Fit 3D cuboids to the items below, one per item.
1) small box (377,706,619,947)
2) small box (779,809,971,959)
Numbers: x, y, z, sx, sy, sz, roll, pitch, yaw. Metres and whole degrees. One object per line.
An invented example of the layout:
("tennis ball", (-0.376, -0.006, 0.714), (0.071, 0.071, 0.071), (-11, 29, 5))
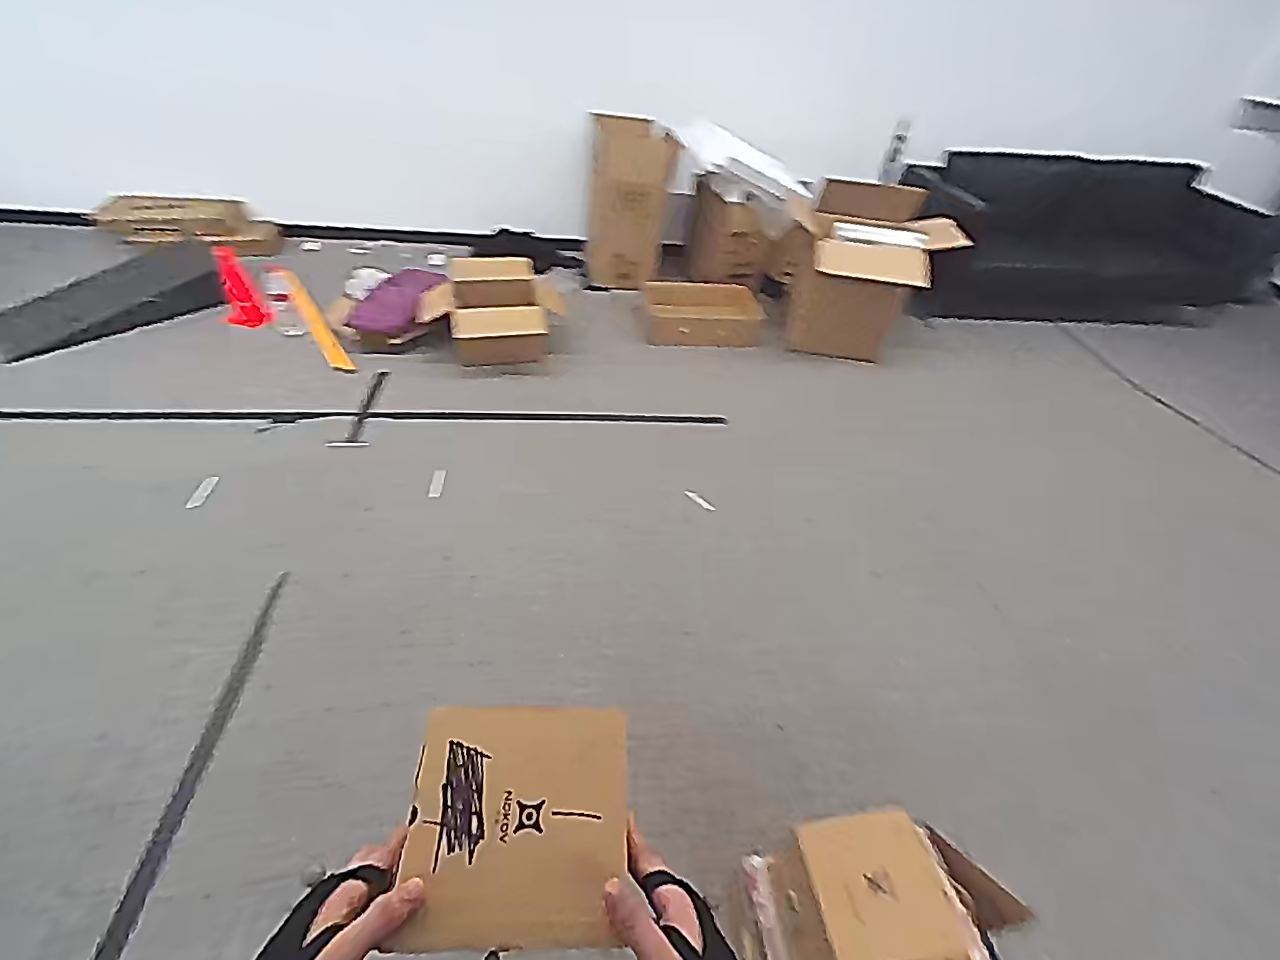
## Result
("small box", (-0.110, 0.322, 0.501), (0.179, 0.176, 0.168), (2, 50, -6))
("small box", (0.322, 0.606, 0.784), (0.179, 0.176, 0.168), (-6, 43, -7))
